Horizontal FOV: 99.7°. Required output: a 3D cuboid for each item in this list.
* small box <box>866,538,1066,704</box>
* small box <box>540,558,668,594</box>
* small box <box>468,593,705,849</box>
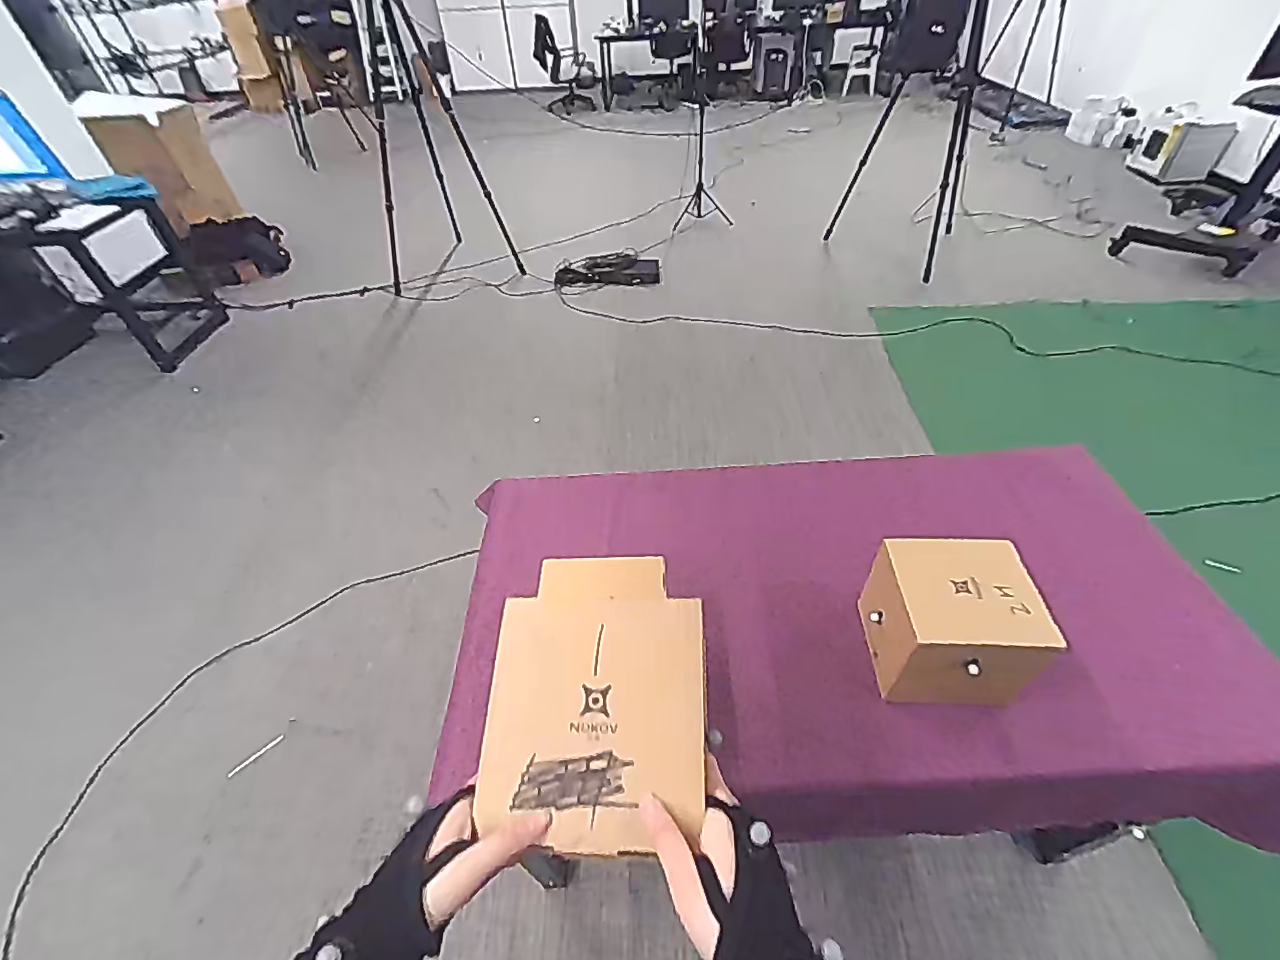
[{"bbox_3d":[0.431,0.199,0.758,0.179,0.176,0.168,0,45,6],"label":"small box"},{"bbox_3d":[-0.045,0.229,0.774,0.179,0.176,0.168,-2,44,2],"label":"small box"},{"bbox_3d":[-0.028,0.208,0.480,0.168,0.176,0.179,-2,61,8],"label":"small box"}]
